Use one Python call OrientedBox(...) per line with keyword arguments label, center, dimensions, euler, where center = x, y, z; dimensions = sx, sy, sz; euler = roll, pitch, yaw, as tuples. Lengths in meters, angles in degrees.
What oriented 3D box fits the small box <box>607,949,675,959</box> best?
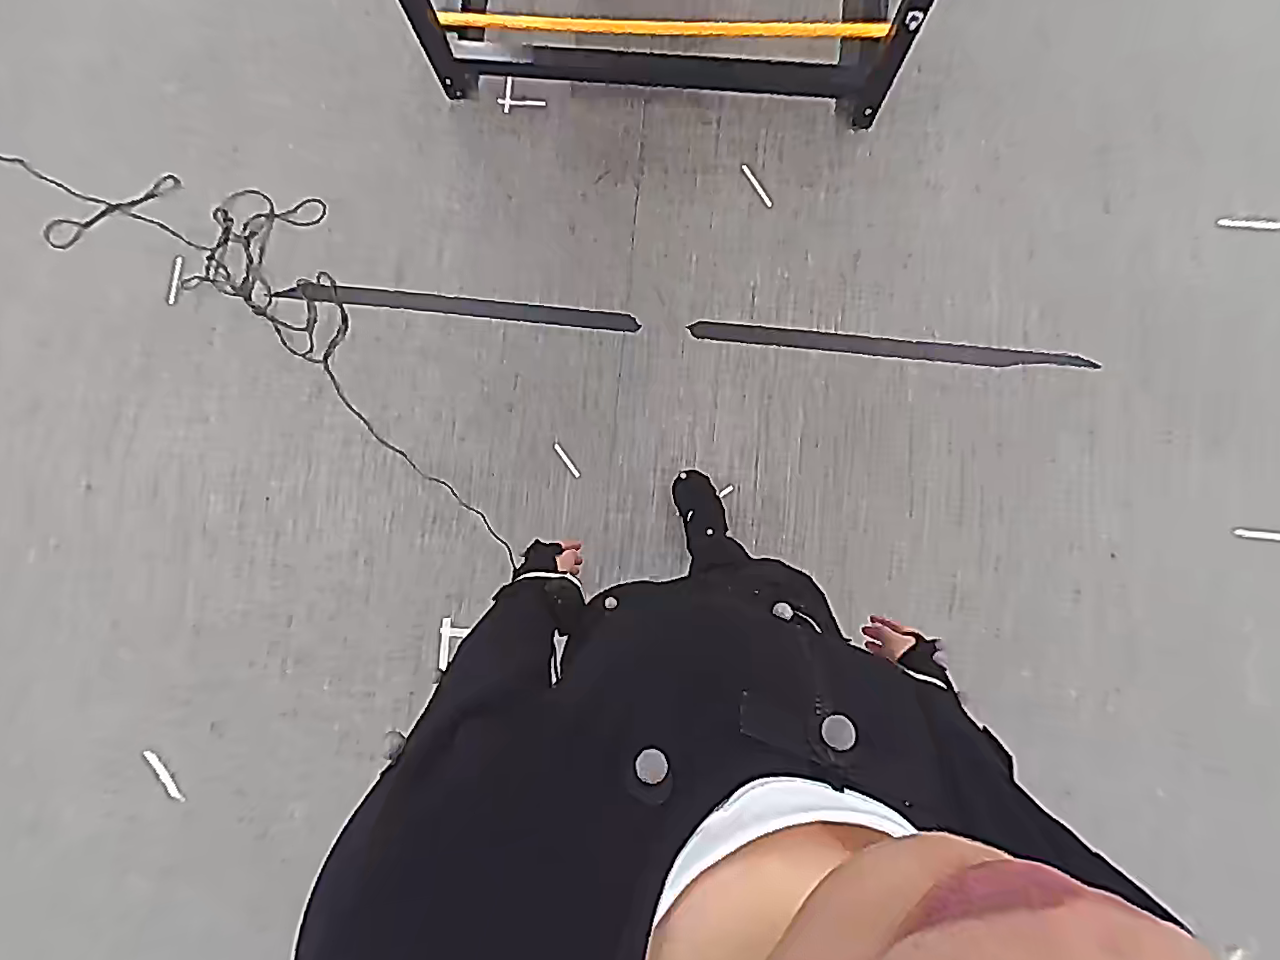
OrientedBox(label="small box", center=(-0.008, 1.222, 1.230), dimensions=(0.179, 0.176, 0.168), euler=(6, 85, 2))
